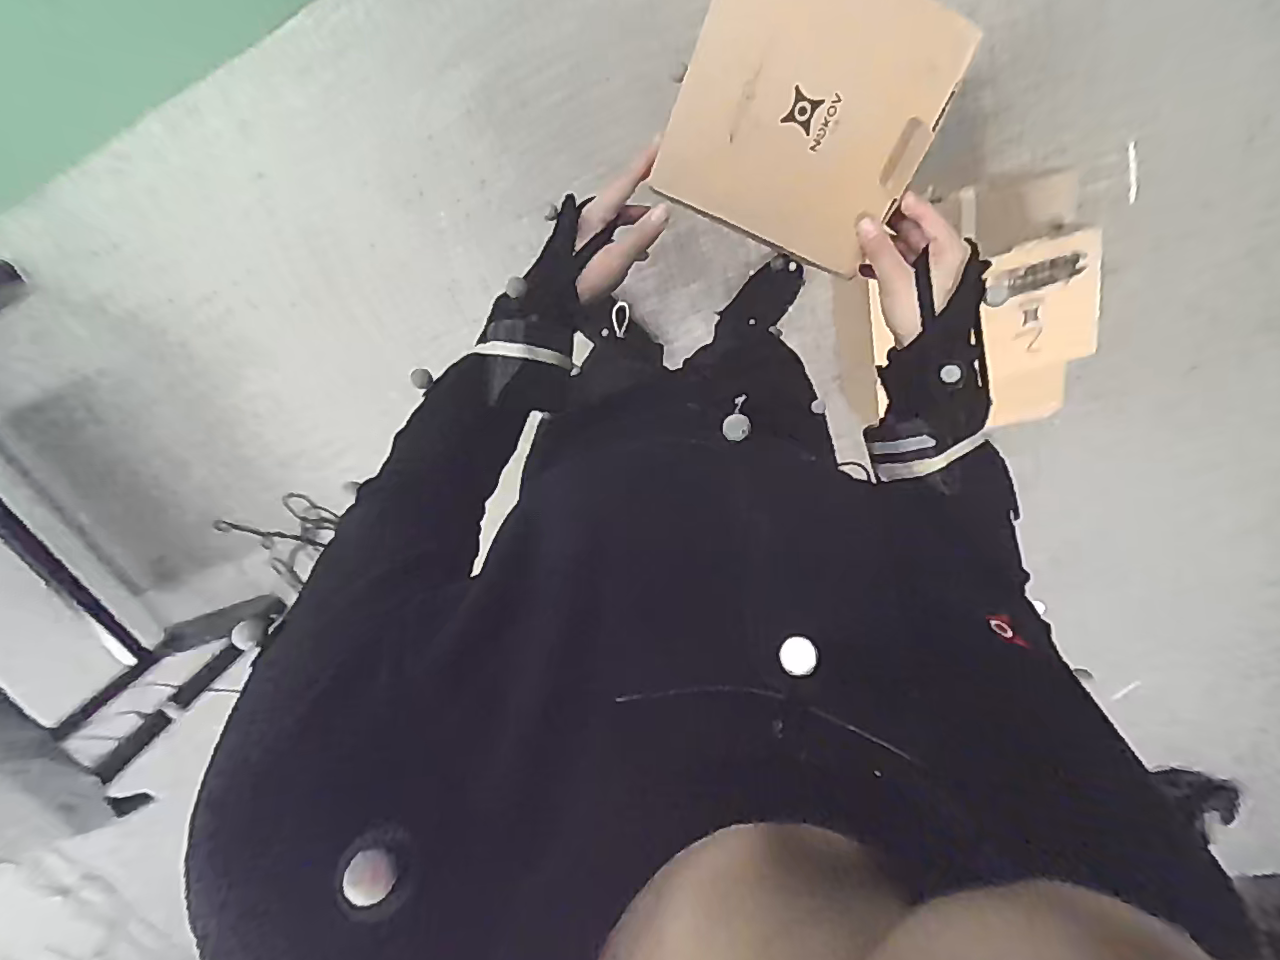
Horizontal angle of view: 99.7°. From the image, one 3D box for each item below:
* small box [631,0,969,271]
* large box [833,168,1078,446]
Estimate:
[{"bbox_3d":[0.105,-0.288,0.437,0.179,0.176,0.168,19,115,-6],"label":"small box"},{"bbox_3d":[0.575,-0.333,1.048,0.320,0.320,0.408,-11,115,13],"label":"large box"}]
